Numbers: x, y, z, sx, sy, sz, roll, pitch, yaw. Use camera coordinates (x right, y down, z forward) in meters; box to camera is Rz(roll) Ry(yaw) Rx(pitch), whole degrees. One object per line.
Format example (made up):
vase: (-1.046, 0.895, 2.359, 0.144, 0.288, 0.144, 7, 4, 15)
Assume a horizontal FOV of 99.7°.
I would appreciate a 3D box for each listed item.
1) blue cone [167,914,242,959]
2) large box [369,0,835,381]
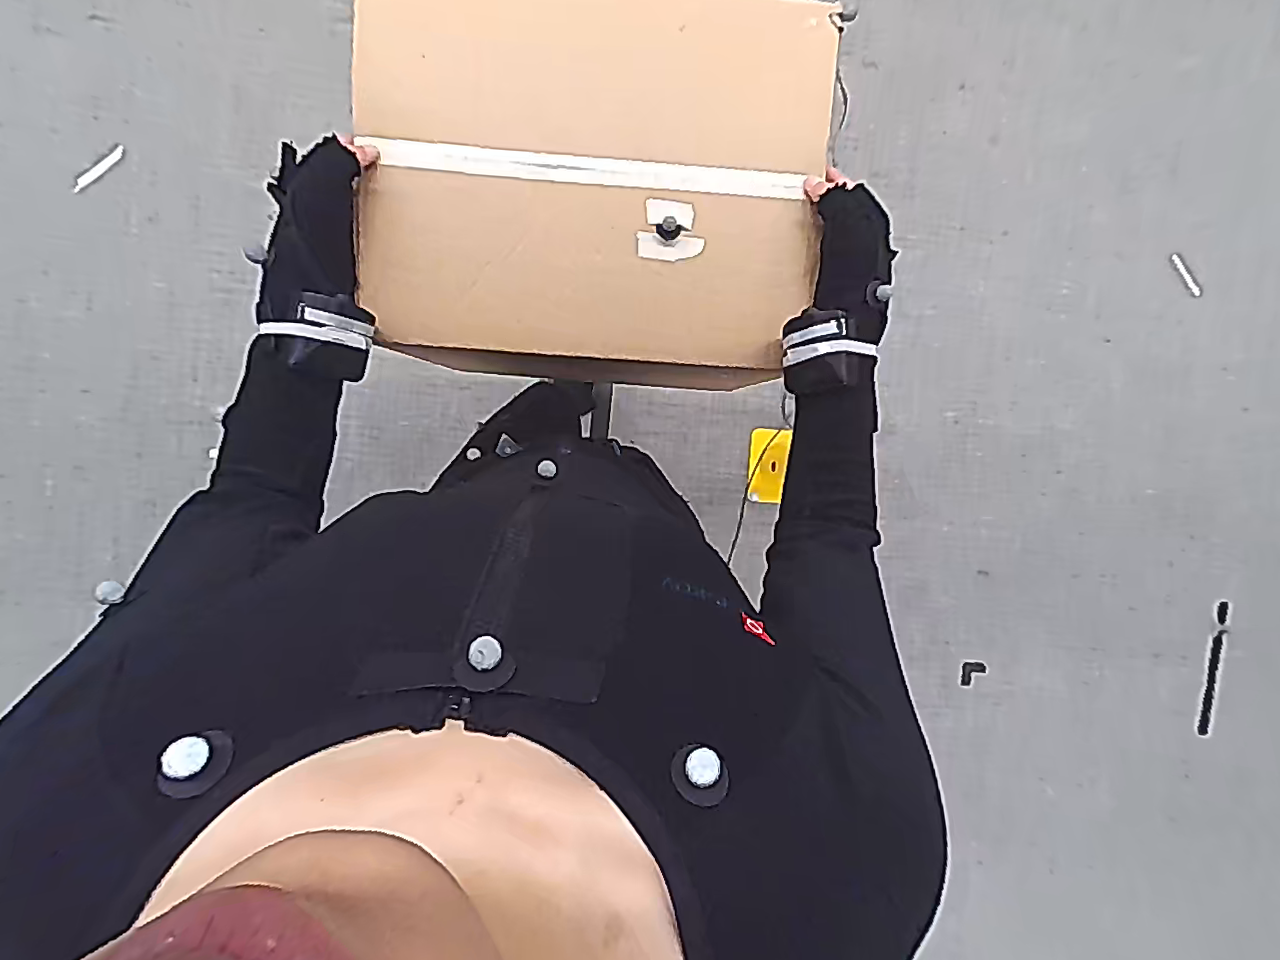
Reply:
blue cone: (-1.176, 1.284, 1.305, 0.192, 0.380, 0.193, 8, 92, -2)
large box: (-0.044, -0.291, 0.621, 0.408, 0.320, 0.320, 3, 96, -4)
